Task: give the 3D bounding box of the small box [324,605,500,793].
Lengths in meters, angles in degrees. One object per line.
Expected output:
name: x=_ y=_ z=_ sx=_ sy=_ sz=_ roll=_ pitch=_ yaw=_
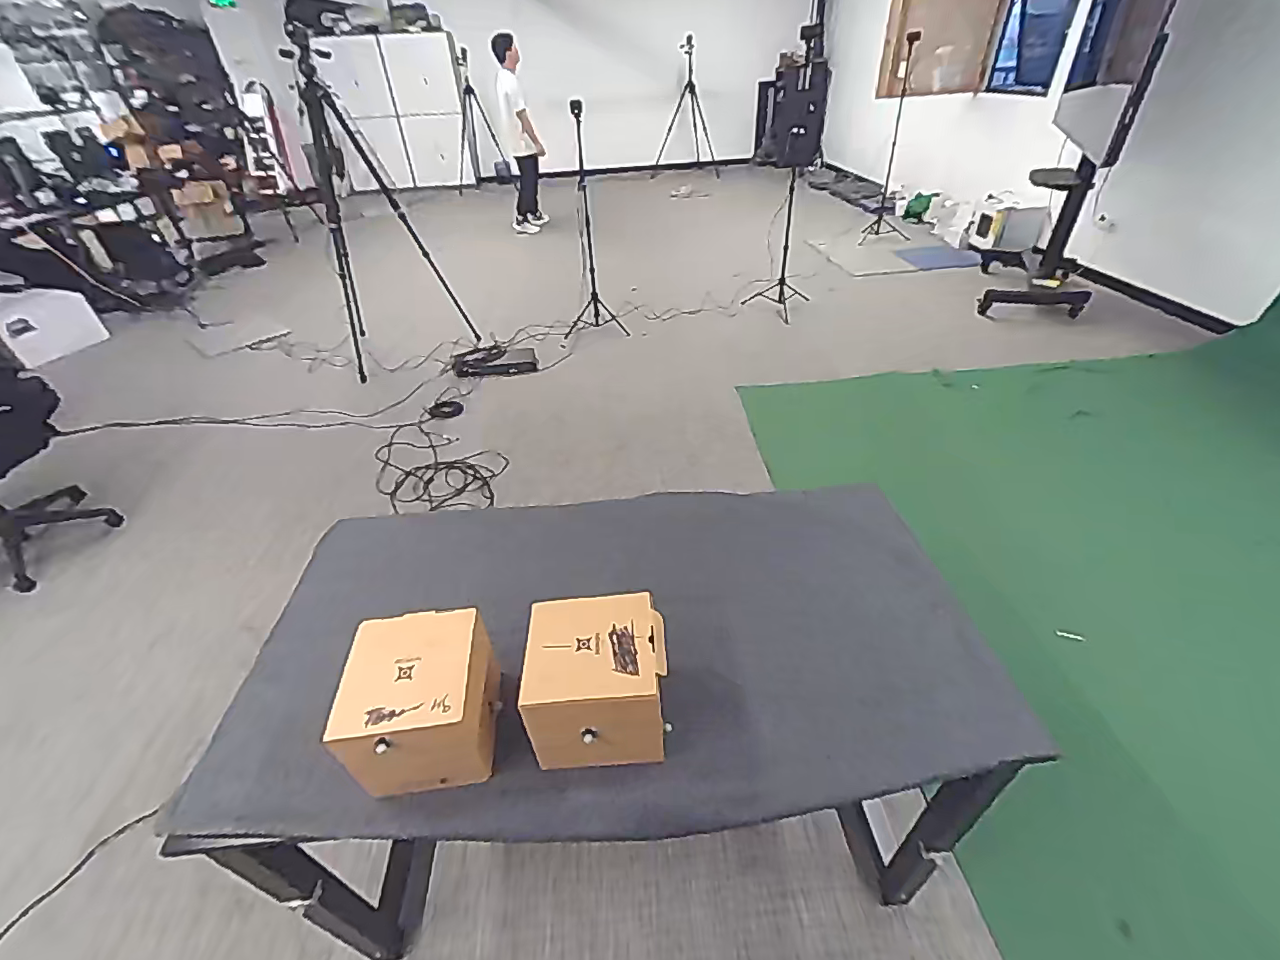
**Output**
small box: x=-0.301 y=0.305 z=0.761 sx=0.168 sy=0.176 sz=0.179 roll=-7 pitch=38 yaw=-3
